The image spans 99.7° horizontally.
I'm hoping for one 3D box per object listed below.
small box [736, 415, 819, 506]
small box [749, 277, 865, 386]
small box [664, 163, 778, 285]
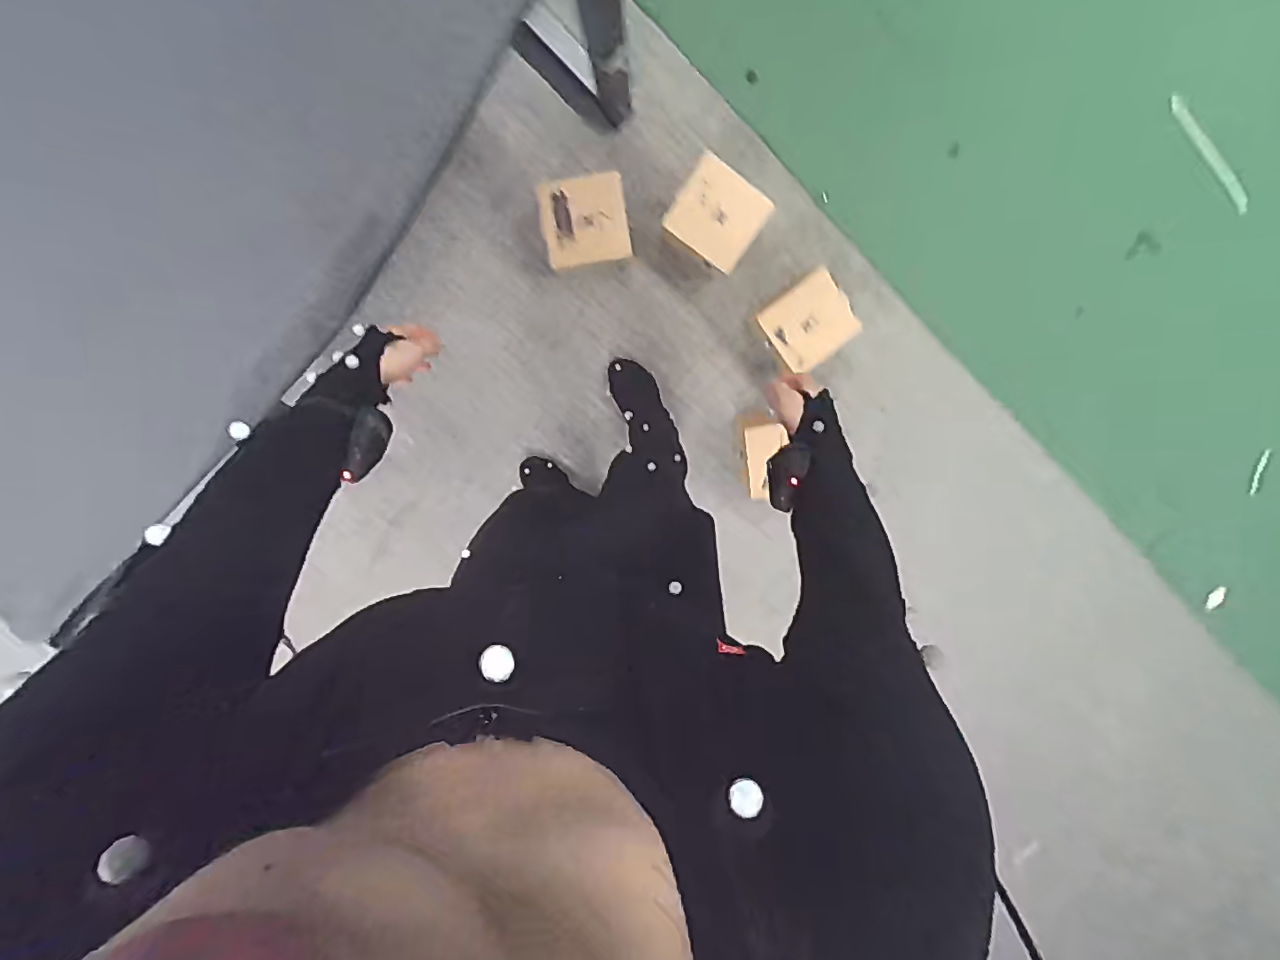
[{"bbox_3d":[0.336,-0.052,1.338,0.168,0.176,0.179,-8,106,3],"label":"small box"},{"bbox_3d":[0.374,-0.344,1.245,0.179,0.176,0.168,-36,104,11],"label":"small box"},{"bbox_3d":[0.168,-0.548,1.185,0.179,0.176,0.168,34,104,-9],"label":"small box"}]
